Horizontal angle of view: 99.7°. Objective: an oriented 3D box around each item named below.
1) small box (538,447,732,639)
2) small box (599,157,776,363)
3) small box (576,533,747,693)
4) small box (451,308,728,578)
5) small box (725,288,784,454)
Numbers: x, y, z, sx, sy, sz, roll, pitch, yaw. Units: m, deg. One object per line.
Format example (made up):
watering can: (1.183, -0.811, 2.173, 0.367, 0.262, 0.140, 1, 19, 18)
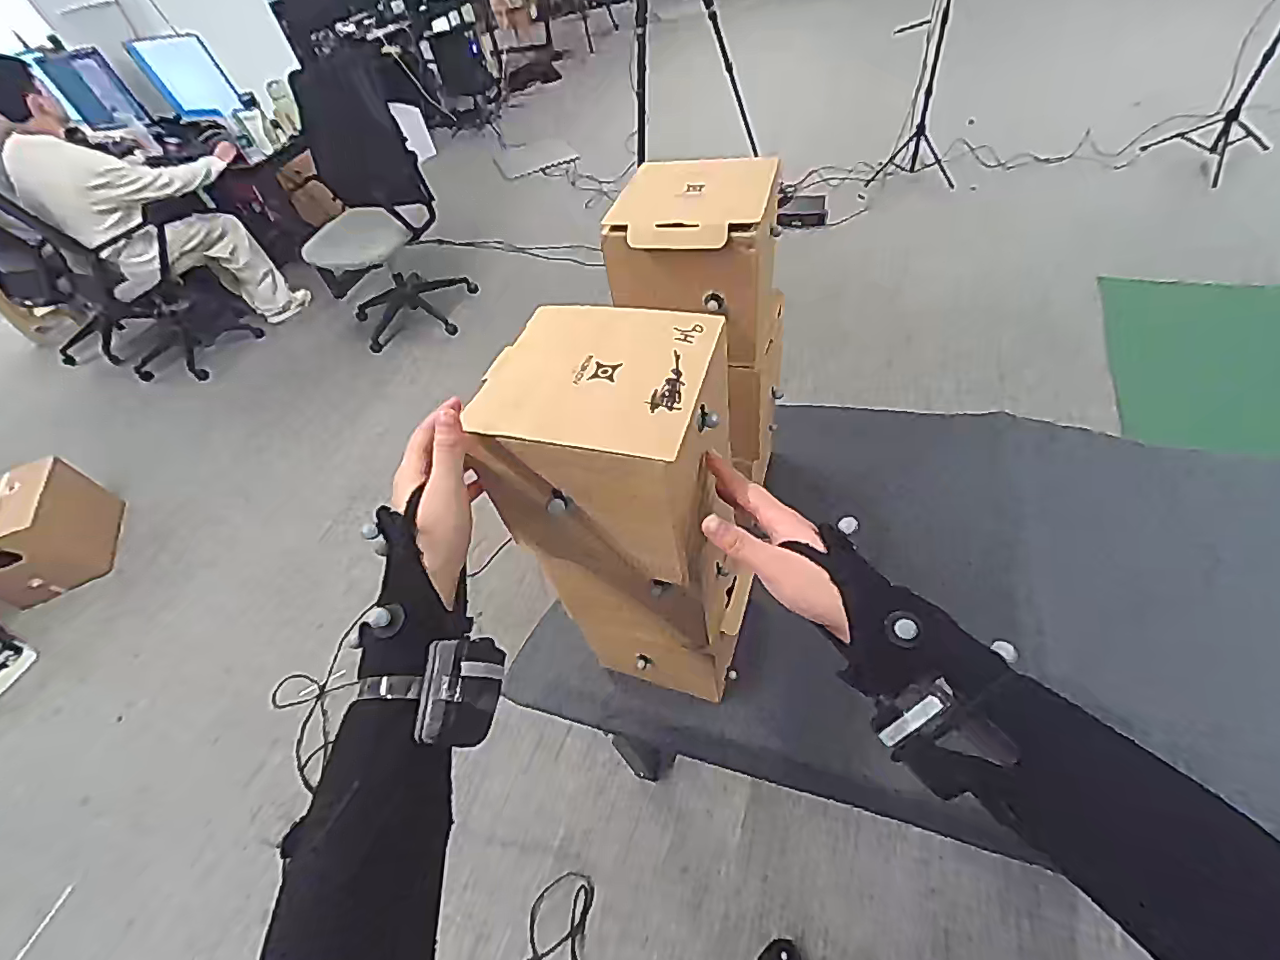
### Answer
small box: (0.003, 0.062, 0.614, 0.179, 0.176, 0.168, 7, 53, 16)
small box: (0.067, -0.258, 0.647, 0.168, 0.176, 0.179, 7, 52, 15)
small box: (0.042, 0.168, 0.731, 0.179, 0.176, 0.168, 10, 54, 20)
small box: (-0.025, -0.032, 0.482, 0.179, 0.176, 0.168, 9, 53, 18)
small box: (0.100, -0.156, 0.769, 0.179, 0.176, 0.168, 10, 55, 19)
